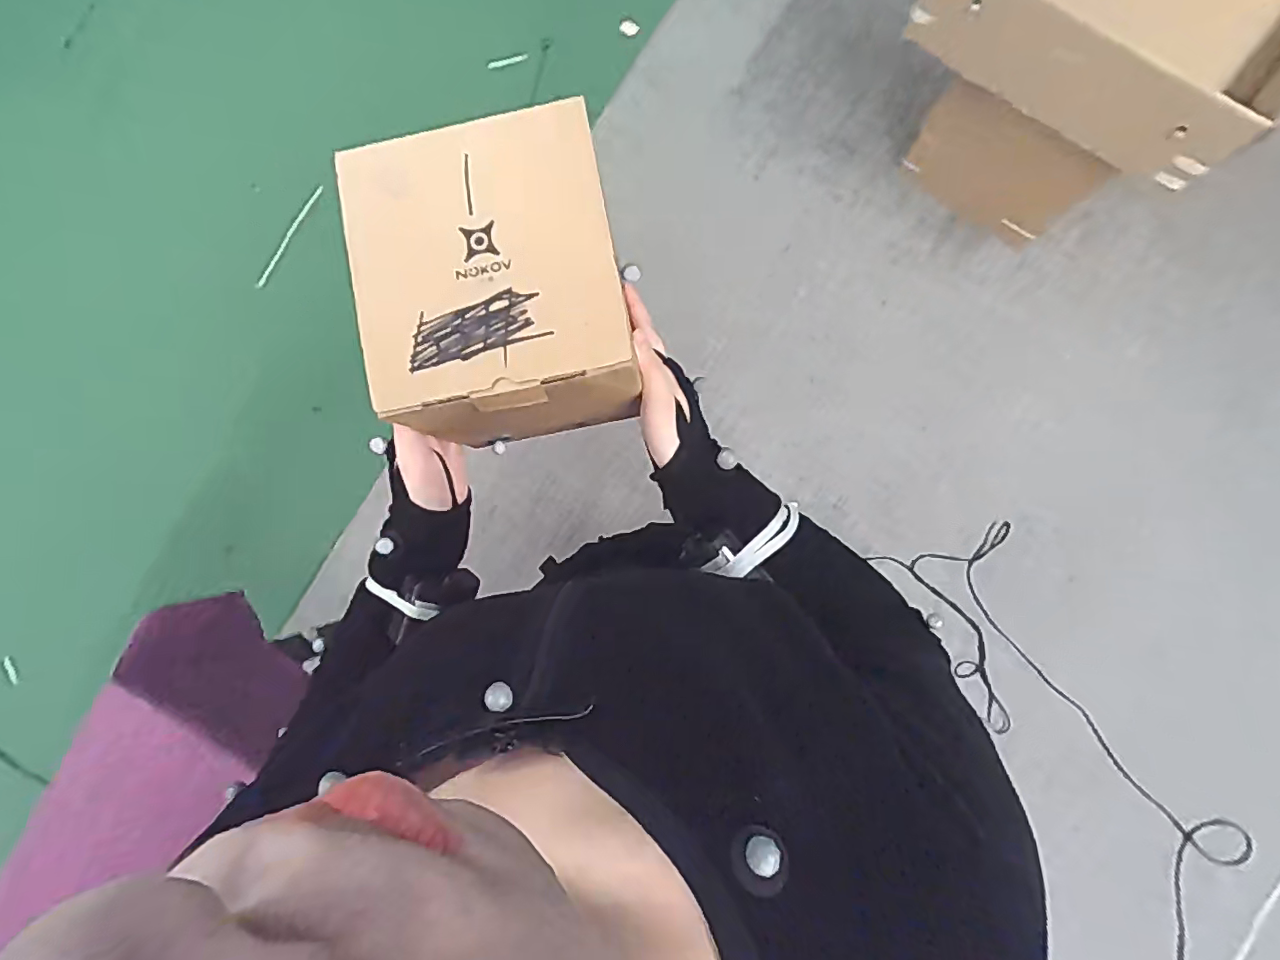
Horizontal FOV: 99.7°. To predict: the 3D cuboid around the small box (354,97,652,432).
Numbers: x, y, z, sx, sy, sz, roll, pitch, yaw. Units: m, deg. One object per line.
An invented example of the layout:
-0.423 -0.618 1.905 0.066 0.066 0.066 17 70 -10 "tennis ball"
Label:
-0.085 -0.138 0.417 0.168 0.176 0.179 -10 85 2 "small box"
